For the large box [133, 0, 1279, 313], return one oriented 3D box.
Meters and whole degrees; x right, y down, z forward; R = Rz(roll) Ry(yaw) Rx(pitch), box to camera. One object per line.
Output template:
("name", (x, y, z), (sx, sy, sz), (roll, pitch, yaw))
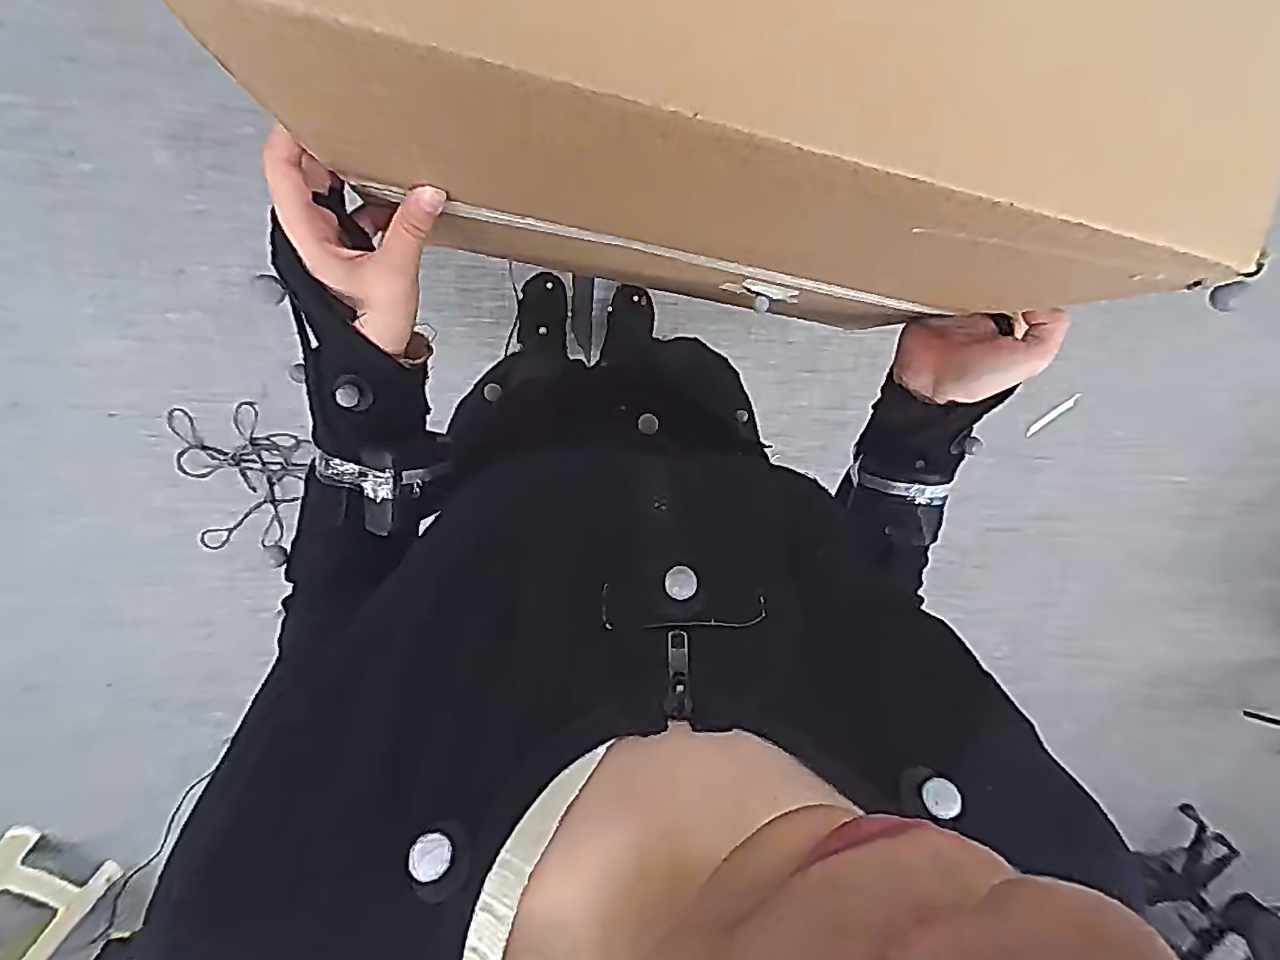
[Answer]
("large box", (0.043, -0.292, 0.295), (0.408, 0.320, 0.320), (5, 102, -11))
